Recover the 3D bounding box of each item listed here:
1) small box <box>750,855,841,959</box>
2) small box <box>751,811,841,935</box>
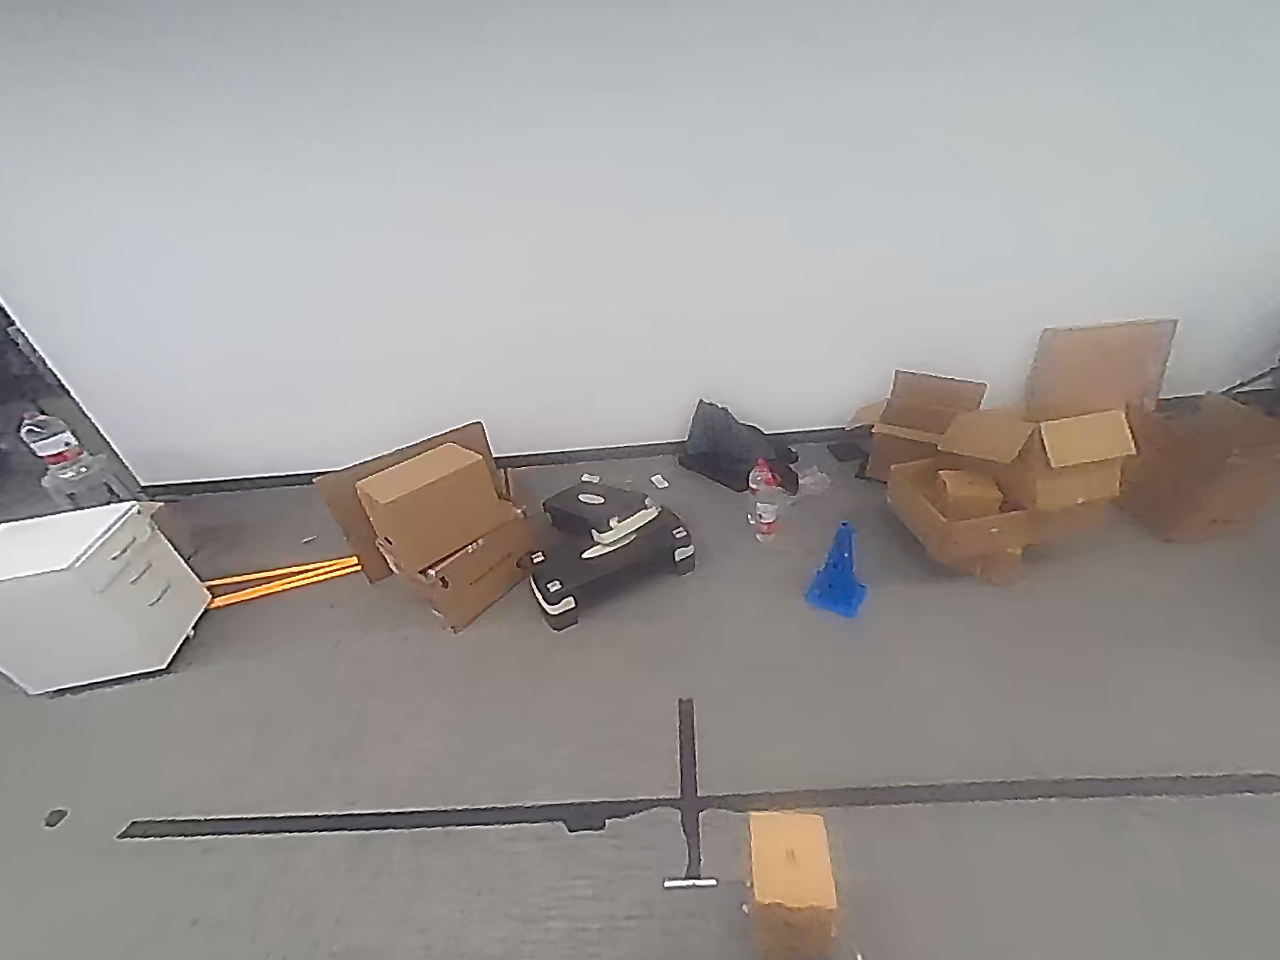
[{"bbox_3d":[0.359,1.009,1.284,0.179,0.176,0.168,-6,35,4],"label":"small box"},{"bbox_3d":[0.337,0.870,1.201,0.168,0.176,0.179,-2,36,8],"label":"small box"}]
